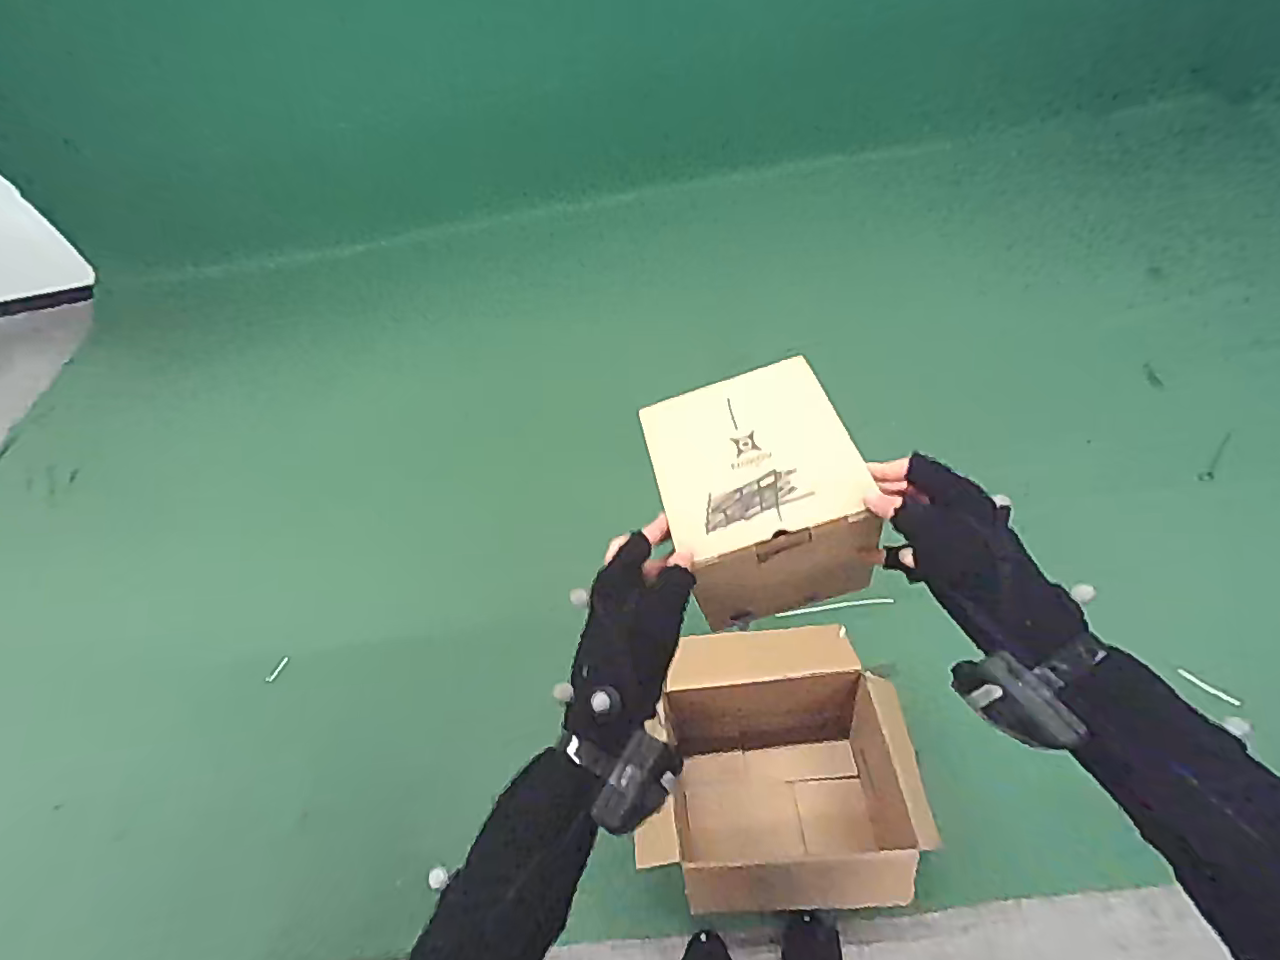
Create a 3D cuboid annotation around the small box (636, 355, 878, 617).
[{"bbox_3d":[0.108,0.018,0.523,0.168,0.176,0.179,-17,54,5],"label":"small box"}]
